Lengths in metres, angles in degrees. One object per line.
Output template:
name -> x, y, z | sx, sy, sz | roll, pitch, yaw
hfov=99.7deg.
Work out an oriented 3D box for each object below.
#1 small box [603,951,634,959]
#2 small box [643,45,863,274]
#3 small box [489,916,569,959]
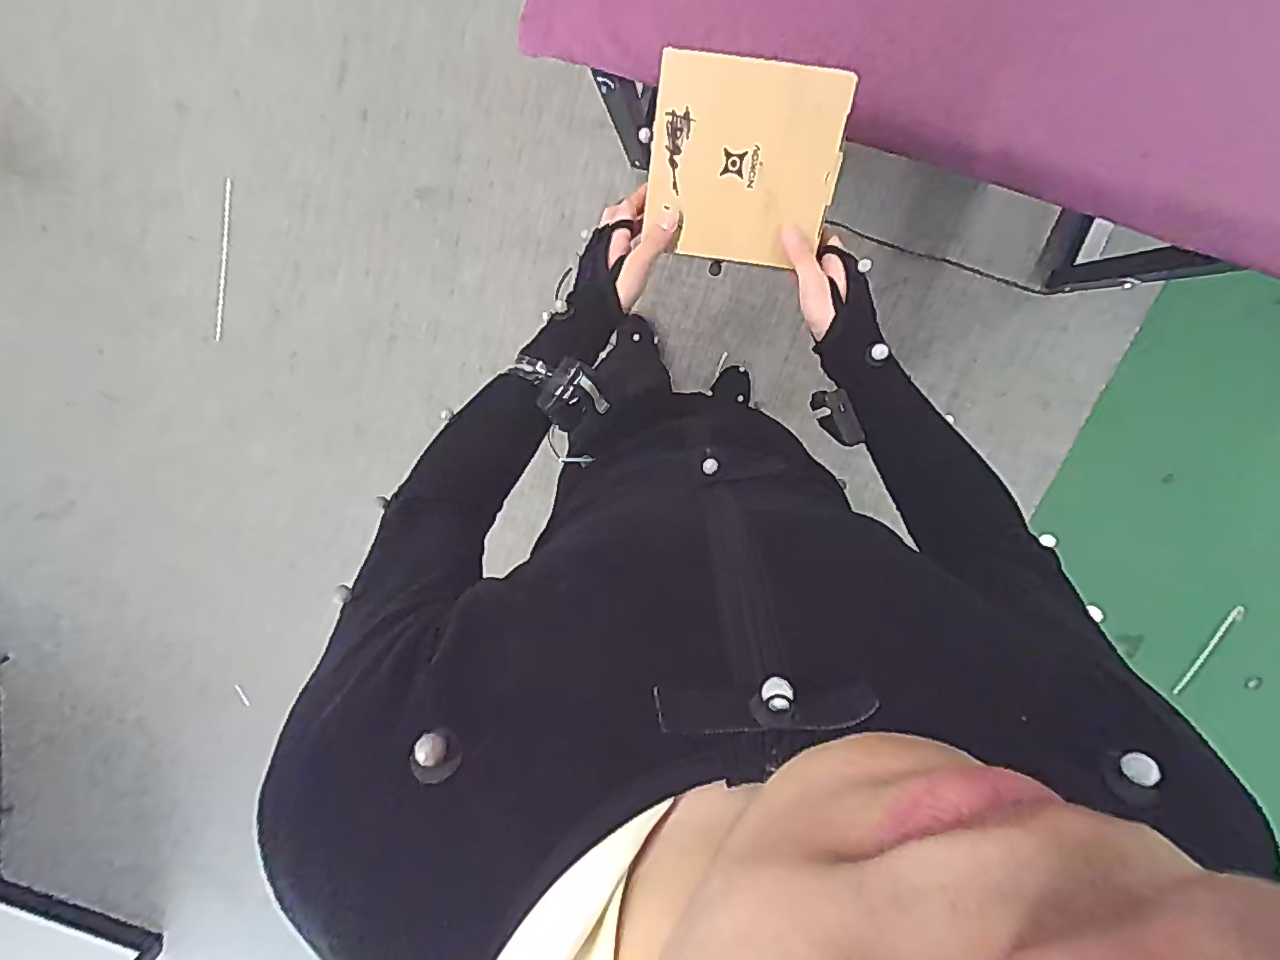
small box -> -0.045, 1.313, 1.313 | 0.168, 0.176, 0.179 | 20, 106, 1
small box -> 0.102, -0.321, 0.574 | 0.179, 0.176, 0.168 | 8, 112, -1
small box -> -0.289, 1.222, 1.320 | 0.179, 0.176, 0.168 | 22, 105, 1
